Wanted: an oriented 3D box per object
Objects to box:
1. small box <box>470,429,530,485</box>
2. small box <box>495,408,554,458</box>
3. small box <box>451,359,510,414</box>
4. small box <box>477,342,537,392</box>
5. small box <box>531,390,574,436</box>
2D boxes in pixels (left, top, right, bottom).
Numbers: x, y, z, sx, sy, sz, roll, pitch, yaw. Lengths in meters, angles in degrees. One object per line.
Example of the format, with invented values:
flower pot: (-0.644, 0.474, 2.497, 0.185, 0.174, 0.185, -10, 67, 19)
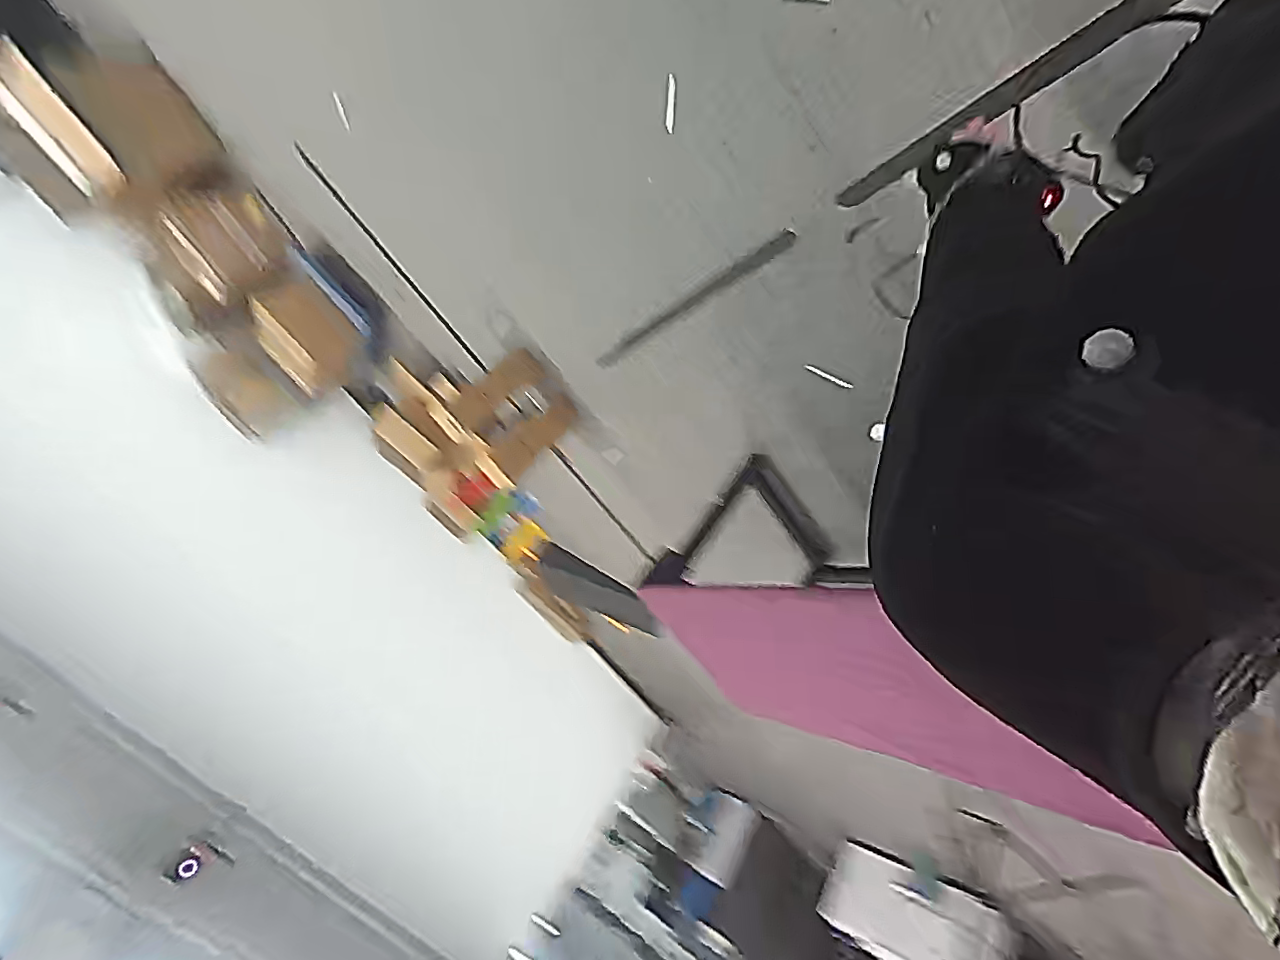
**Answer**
small box: (-0.628, -0.104, 2.438, 0.168, 0.176, 0.179, -15, 116, 53)
small box: (-0.534, -0.210, 2.522, 0.179, 0.176, 0.168, 53, 147, -15)
small box: (-0.716, -0.425, 2.451, 0.179, 0.176, 0.168, -9, 122, 53)
small box: (-0.623, -0.528, 2.542, 0.168, 0.176, 0.179, -8, 123, 51)
small box: (-0.443, -0.309, 2.613, 0.168, 0.176, 0.179, 52, 148, -15)
